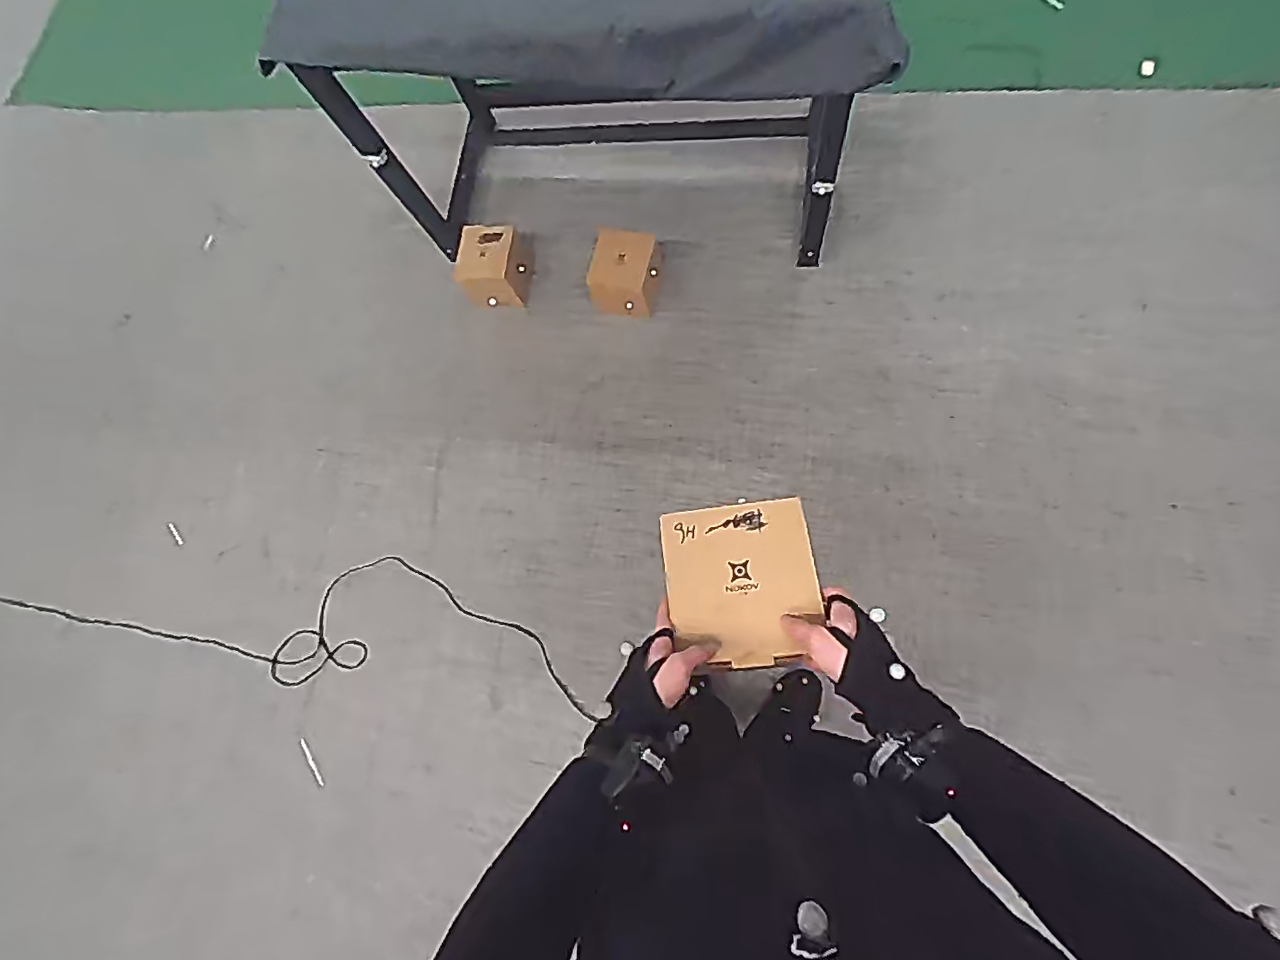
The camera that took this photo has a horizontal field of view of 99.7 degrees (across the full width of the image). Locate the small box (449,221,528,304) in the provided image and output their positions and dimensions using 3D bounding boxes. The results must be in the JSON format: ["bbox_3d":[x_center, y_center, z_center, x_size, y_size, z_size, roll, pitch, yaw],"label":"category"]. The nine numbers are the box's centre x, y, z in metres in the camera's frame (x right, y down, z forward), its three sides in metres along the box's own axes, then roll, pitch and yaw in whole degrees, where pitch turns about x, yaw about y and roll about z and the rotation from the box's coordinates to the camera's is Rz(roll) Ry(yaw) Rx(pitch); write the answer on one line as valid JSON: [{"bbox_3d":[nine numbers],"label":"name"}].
[{"bbox_3d":[-0.455,-0.662,1.654,0.168,0.176,0.179,5,80,12],"label":"small box"}]

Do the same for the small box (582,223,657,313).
[{"bbox_3d":[-0.052,-0.611,1.574,0.168,0.176,0.179,12,79,11],"label":"small box"}]

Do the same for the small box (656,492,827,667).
[{"bbox_3d":[0.117,0.131,0.662,0.168,0.176,0.179,-8,68,6],"label":"small box"}]
